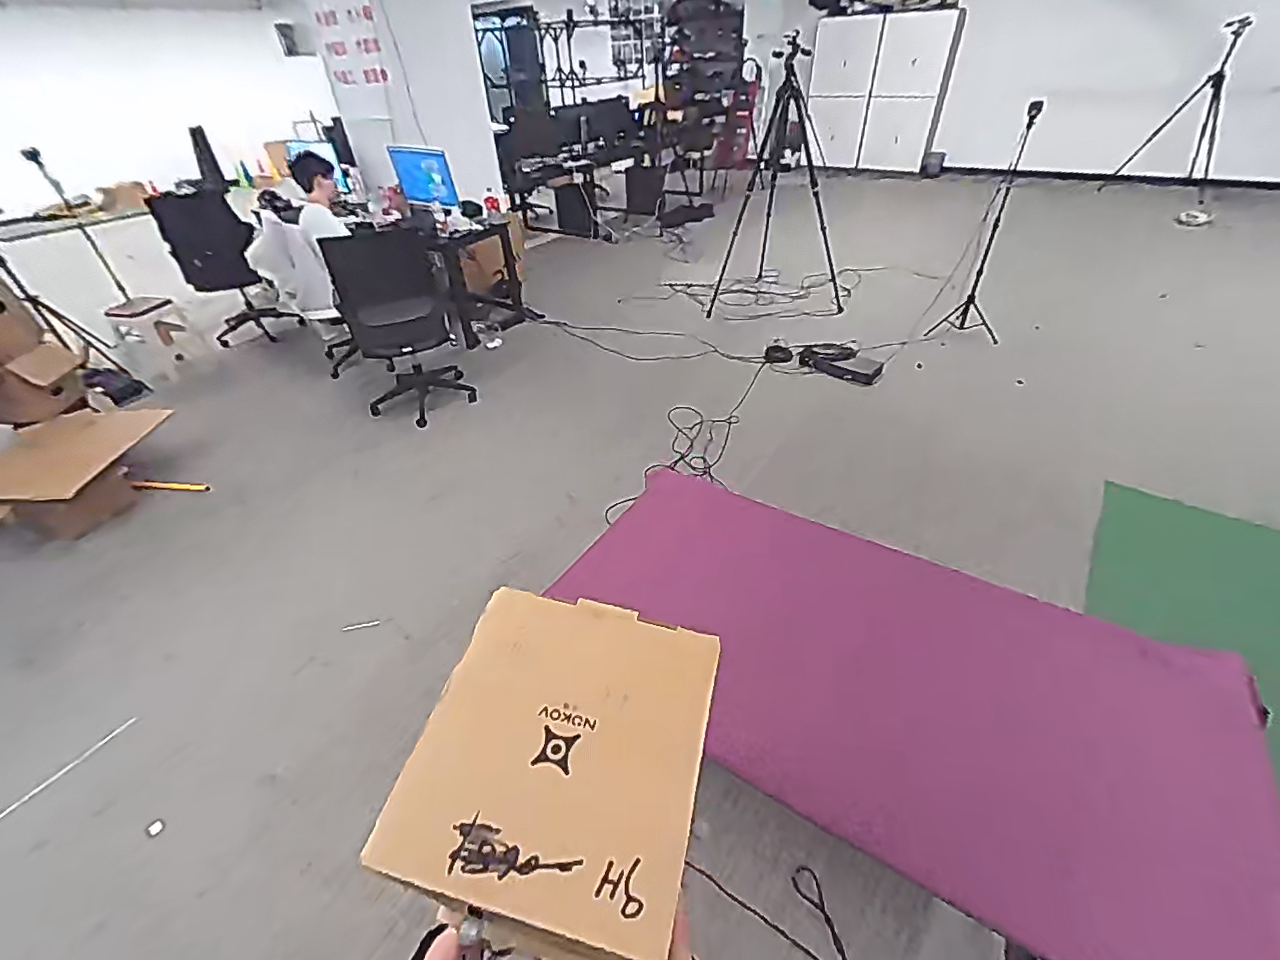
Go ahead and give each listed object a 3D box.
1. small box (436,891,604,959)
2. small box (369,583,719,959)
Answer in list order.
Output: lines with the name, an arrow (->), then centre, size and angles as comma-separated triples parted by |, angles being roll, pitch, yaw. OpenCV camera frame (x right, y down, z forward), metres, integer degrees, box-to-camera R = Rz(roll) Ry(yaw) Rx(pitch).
small box -> -0.051, 0.327, 0.497 | 0.168, 0.176, 0.179 | 12, 47, 10
small box -> -0.046, 0.206, 0.385 | 0.168, 0.176, 0.179 | 11, 47, 11
